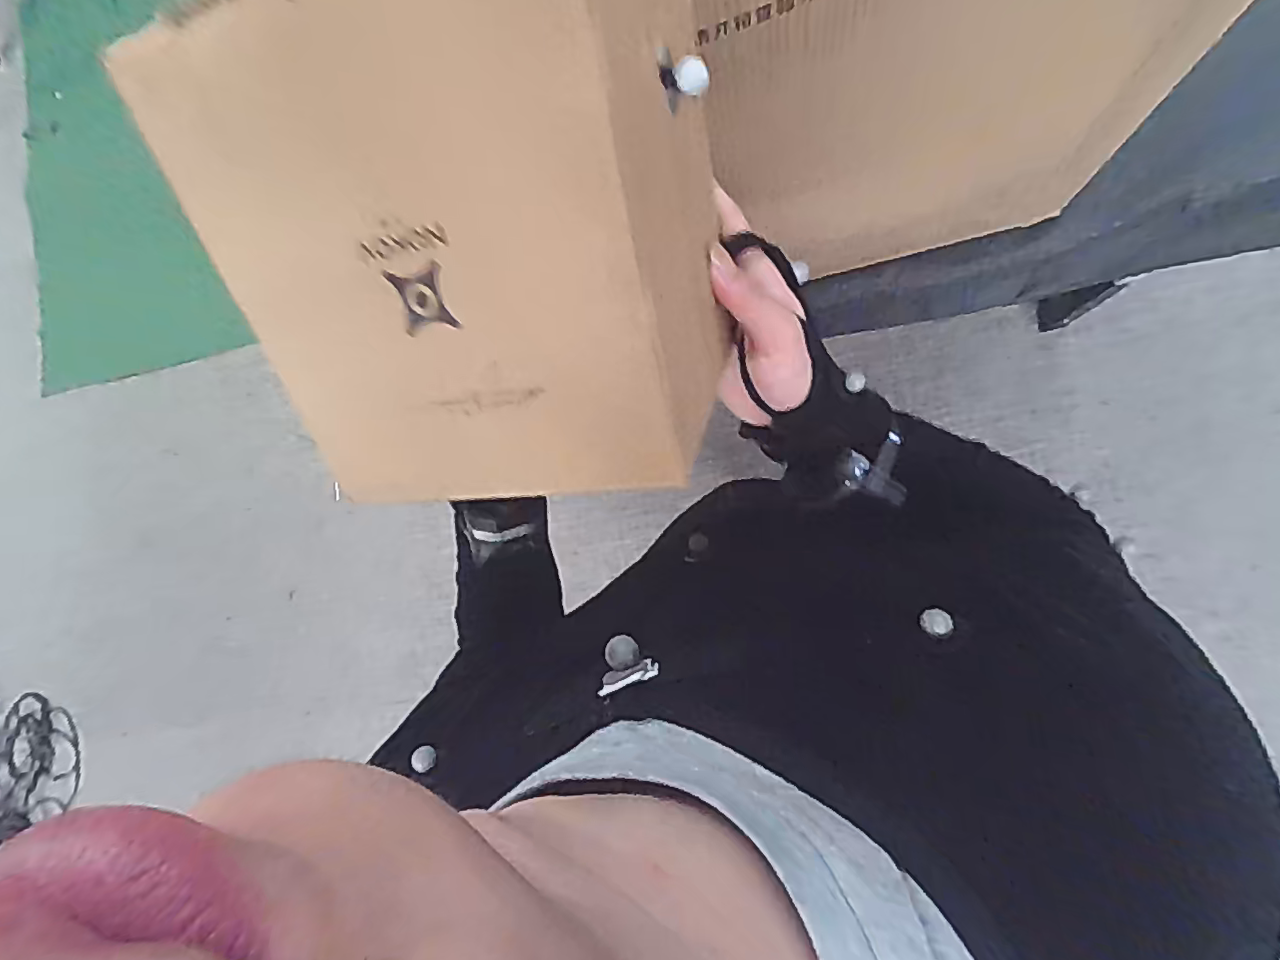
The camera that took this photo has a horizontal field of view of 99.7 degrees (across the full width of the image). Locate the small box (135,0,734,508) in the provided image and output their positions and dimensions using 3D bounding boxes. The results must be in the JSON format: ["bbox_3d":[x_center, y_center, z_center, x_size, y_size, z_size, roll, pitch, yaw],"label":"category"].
[{"bbox_3d":[-0.055,-0.106,0.259,0.168,0.176,0.179,-3,121,21],"label":"small box"}]
